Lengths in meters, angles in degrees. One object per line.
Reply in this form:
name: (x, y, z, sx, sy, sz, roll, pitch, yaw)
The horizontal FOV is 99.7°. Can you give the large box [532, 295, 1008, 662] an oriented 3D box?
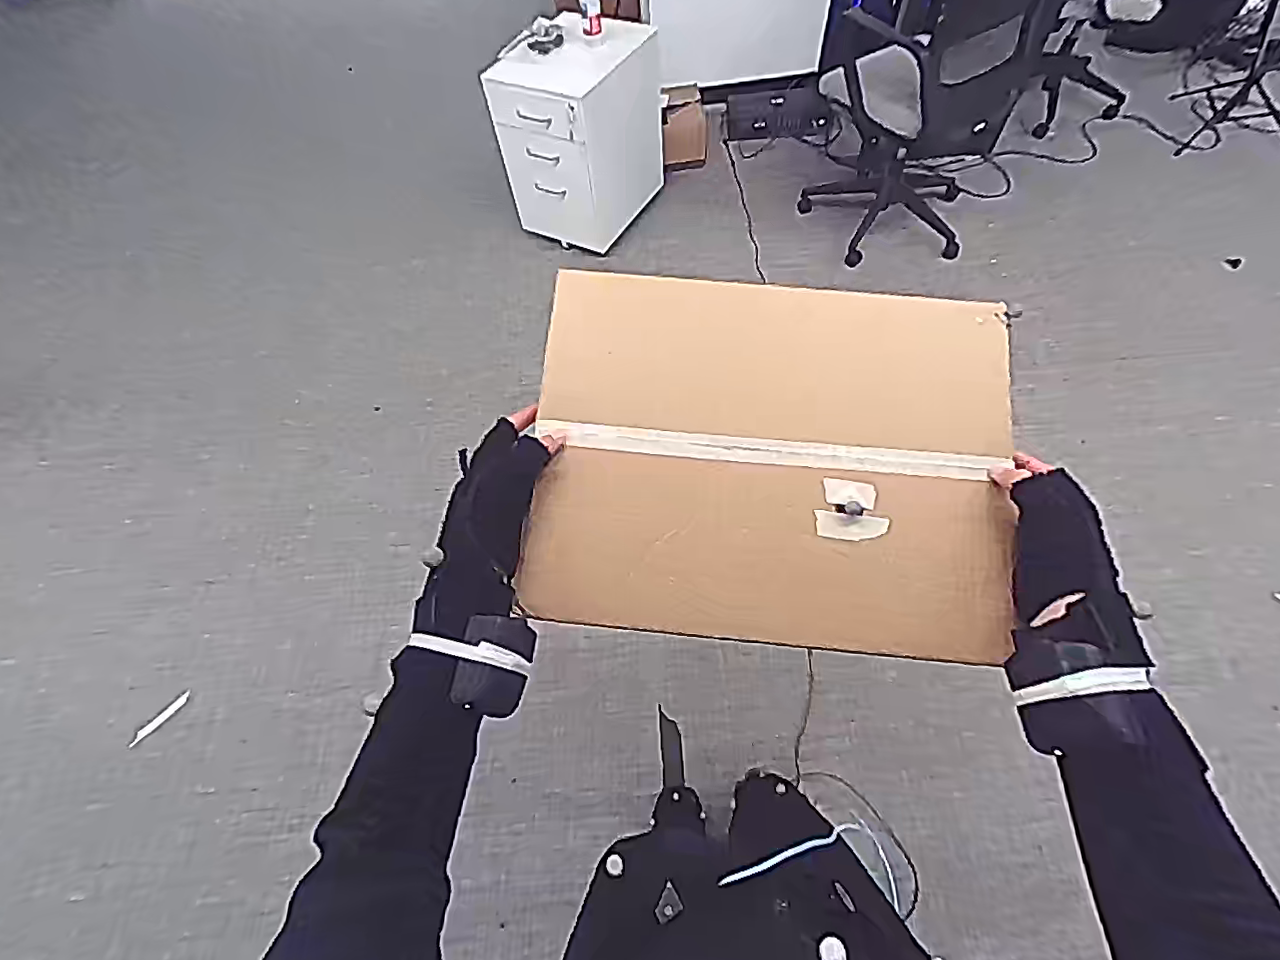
large box: (0.118, 0.017, 0.624, 0.408, 0.320, 0.320, 5, 79, 2)
